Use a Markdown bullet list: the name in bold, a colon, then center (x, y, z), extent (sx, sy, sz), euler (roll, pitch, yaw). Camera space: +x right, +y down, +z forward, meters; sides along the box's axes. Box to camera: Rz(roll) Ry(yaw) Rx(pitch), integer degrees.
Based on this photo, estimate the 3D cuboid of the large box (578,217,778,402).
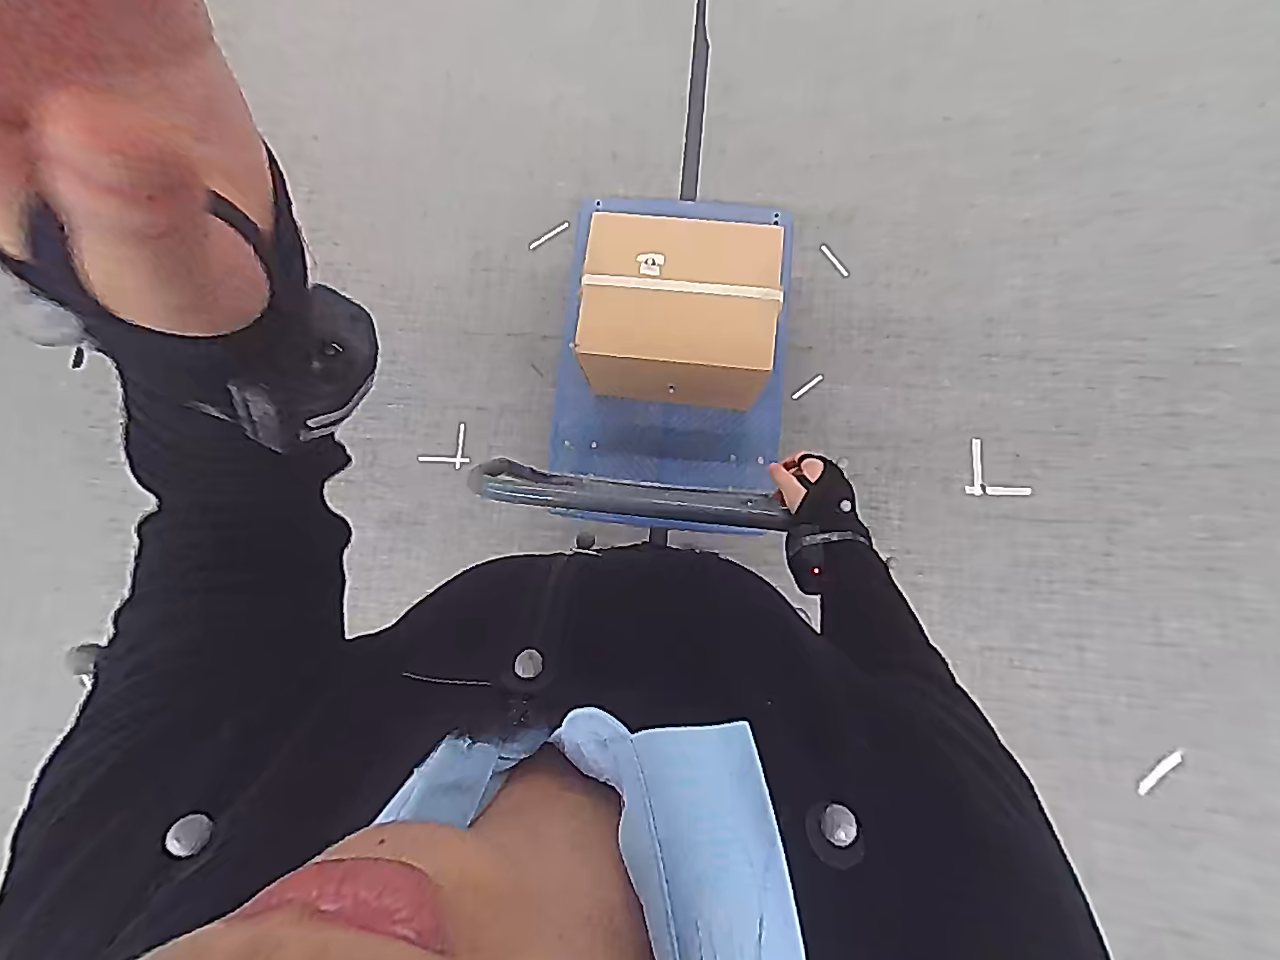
- **large box**: center (0.092, -0.380, 1.275), extent (0.408, 0.320, 0.320), euler (6, 82, 5)
